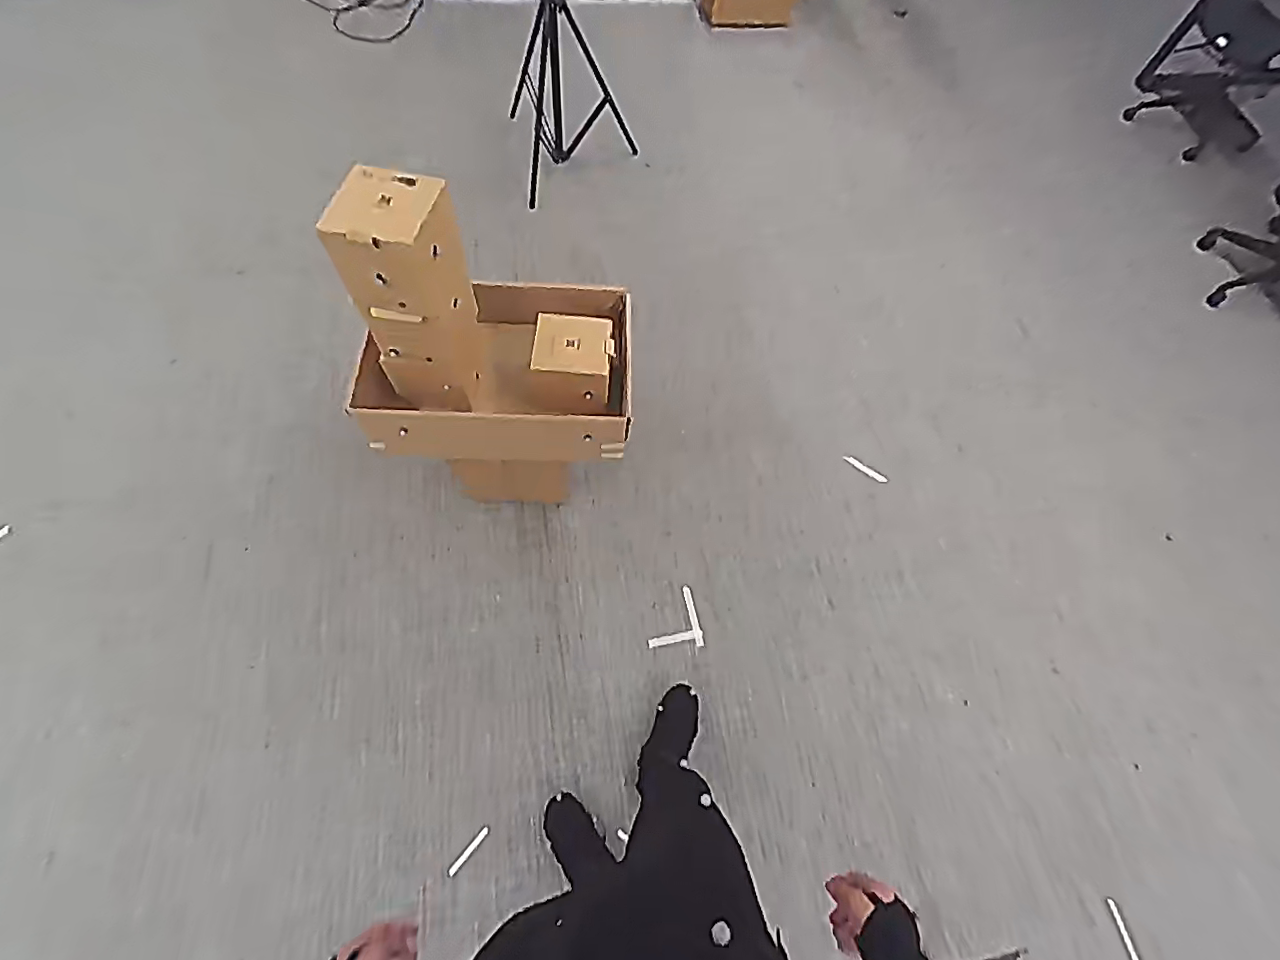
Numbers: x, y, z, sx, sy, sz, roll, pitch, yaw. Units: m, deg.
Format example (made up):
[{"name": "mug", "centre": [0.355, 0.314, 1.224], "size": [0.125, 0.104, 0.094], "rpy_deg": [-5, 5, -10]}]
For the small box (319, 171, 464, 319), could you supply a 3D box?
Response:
[{"name": "small box", "centre": [-0.442, -0.426, 0.998], "size": [0.168, 0.176, 0.179], "rpy_deg": [11, 63, 0]}]

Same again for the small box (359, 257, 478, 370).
[{"name": "small box", "centre": [-0.456, -0.357, 1.147], "size": [0.168, 0.176, 0.179], "rpy_deg": [8, 62, -1]}]
